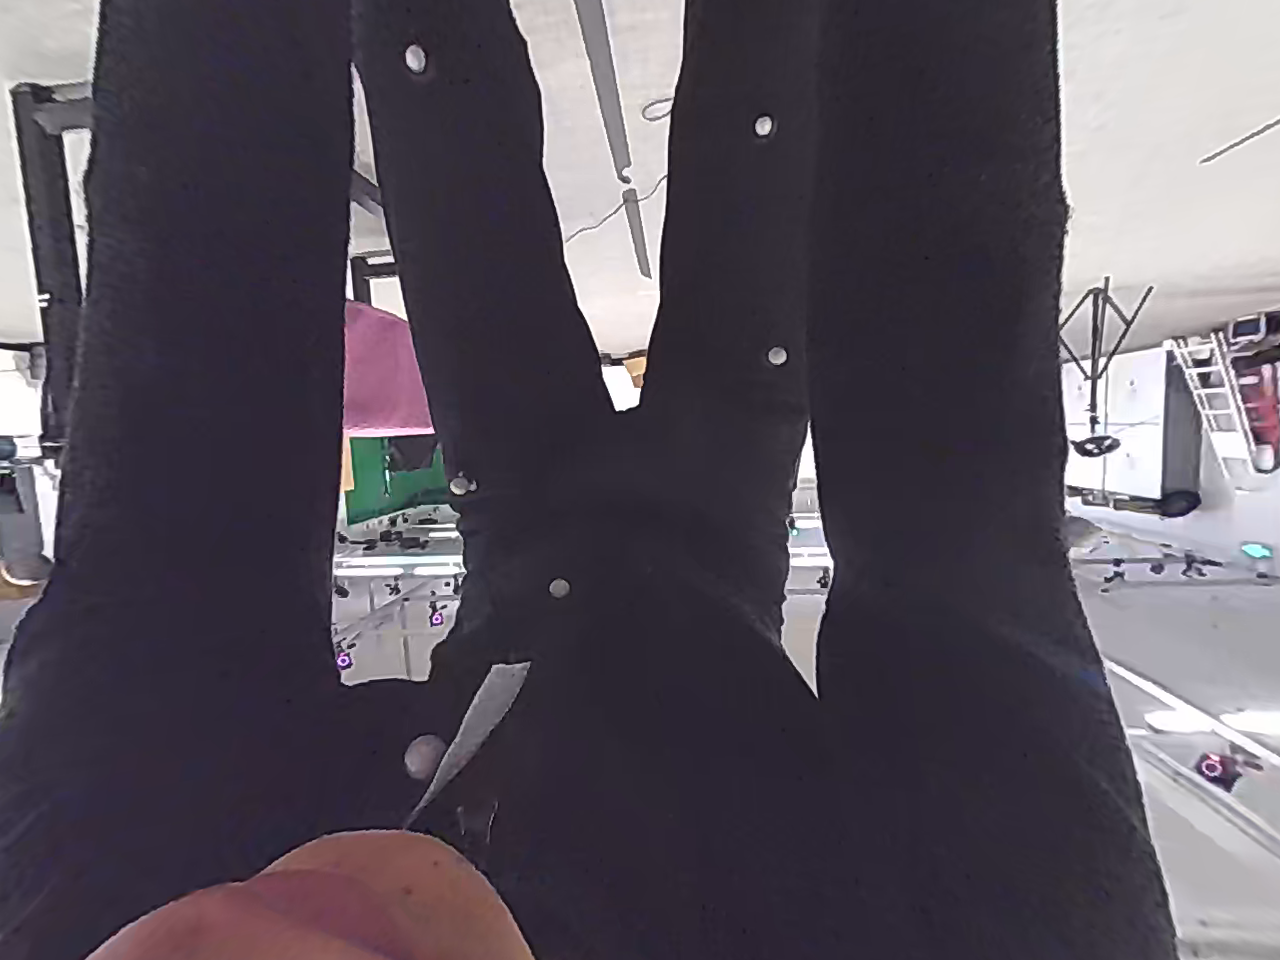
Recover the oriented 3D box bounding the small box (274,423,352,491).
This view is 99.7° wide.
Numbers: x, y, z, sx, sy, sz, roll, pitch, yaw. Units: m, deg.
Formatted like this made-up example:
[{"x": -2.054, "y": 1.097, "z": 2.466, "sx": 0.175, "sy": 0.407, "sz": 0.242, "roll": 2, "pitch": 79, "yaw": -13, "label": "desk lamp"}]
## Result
[{"x": -0.914, "y": -0.065, "z": 1.452, "sx": 0.179, "sy": 0.176, "sz": 0.168, "roll": -1, "pitch": -174, "yaw": 11, "label": "small box"}]
